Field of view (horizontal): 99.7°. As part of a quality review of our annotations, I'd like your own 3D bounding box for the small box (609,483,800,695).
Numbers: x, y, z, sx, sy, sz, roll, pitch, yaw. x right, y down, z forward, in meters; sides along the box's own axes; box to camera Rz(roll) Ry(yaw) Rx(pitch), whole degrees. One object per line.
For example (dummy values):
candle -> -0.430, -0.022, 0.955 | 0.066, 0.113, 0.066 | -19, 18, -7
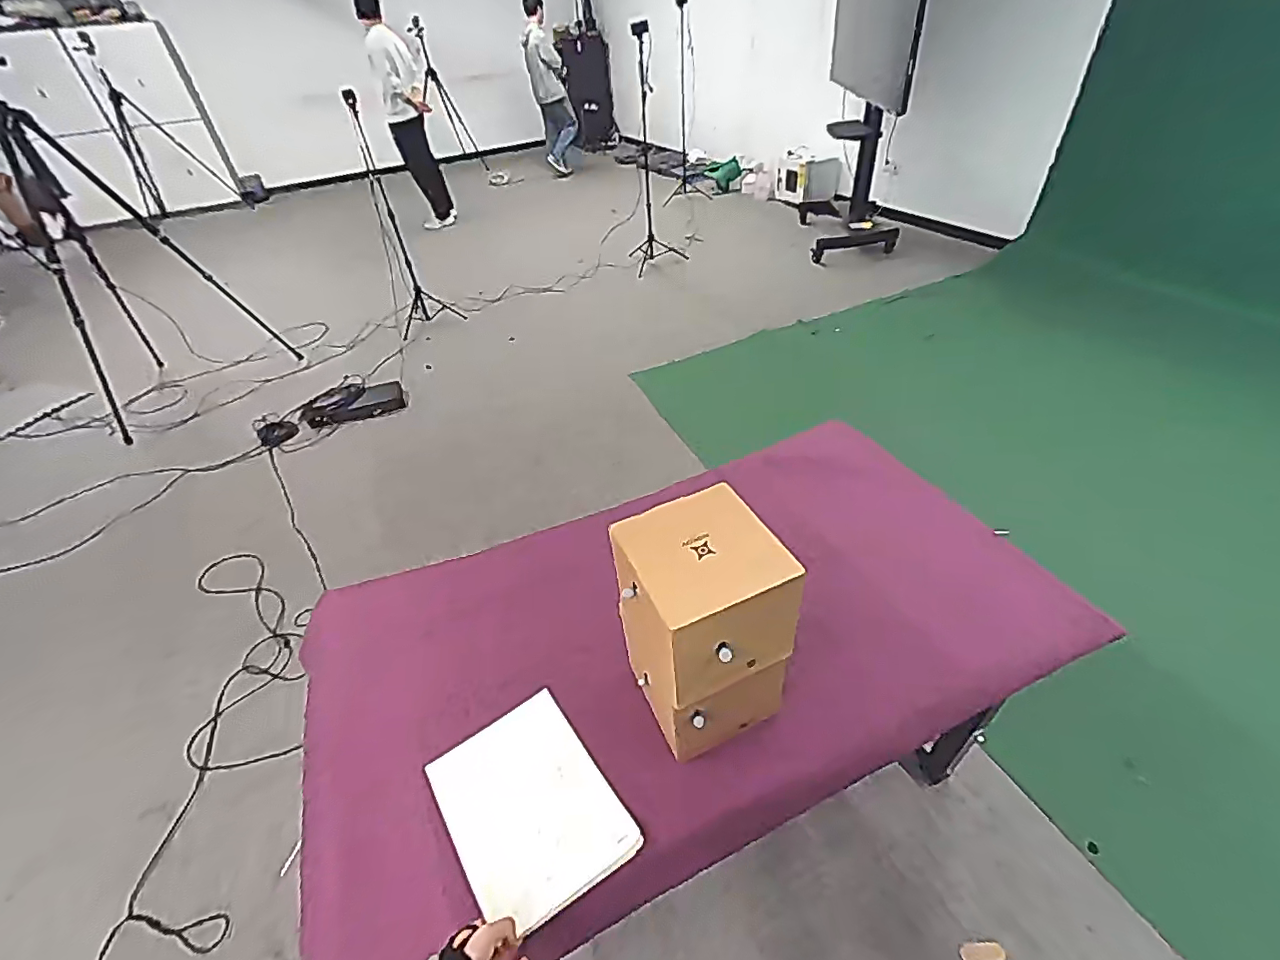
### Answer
small box -> 0.076, 0.139, 0.673 | 0.168, 0.176, 0.179 | -20, 41, -15
